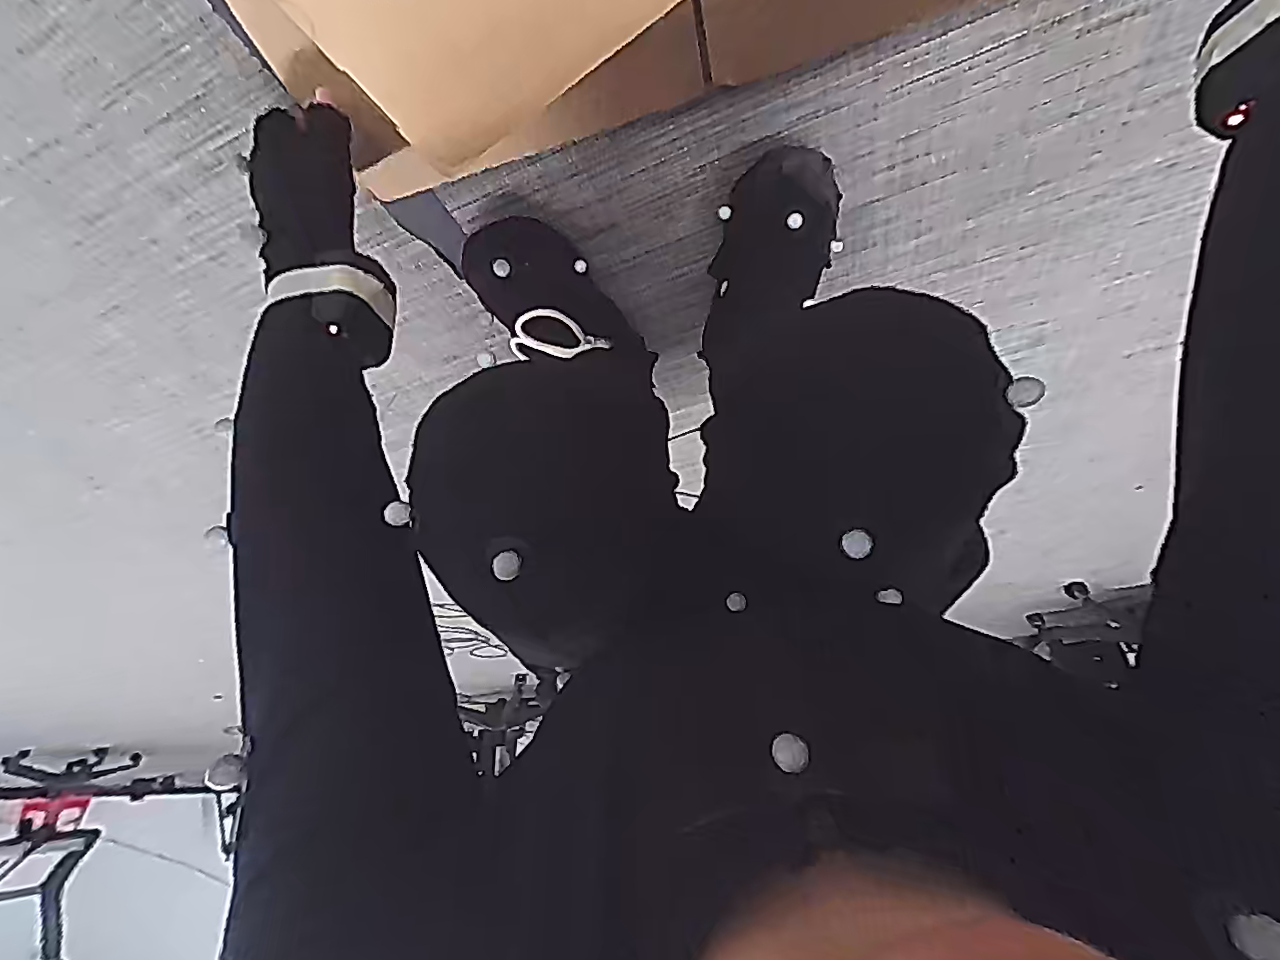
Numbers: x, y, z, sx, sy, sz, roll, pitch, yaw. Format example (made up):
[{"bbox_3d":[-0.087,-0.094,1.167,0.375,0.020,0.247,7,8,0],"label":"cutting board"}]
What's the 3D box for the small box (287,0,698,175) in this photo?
[{"bbox_3d":[-0.074,-0.292,0.236,0.179,0.176,0.168,-20,146,24],"label":"small box"}]
